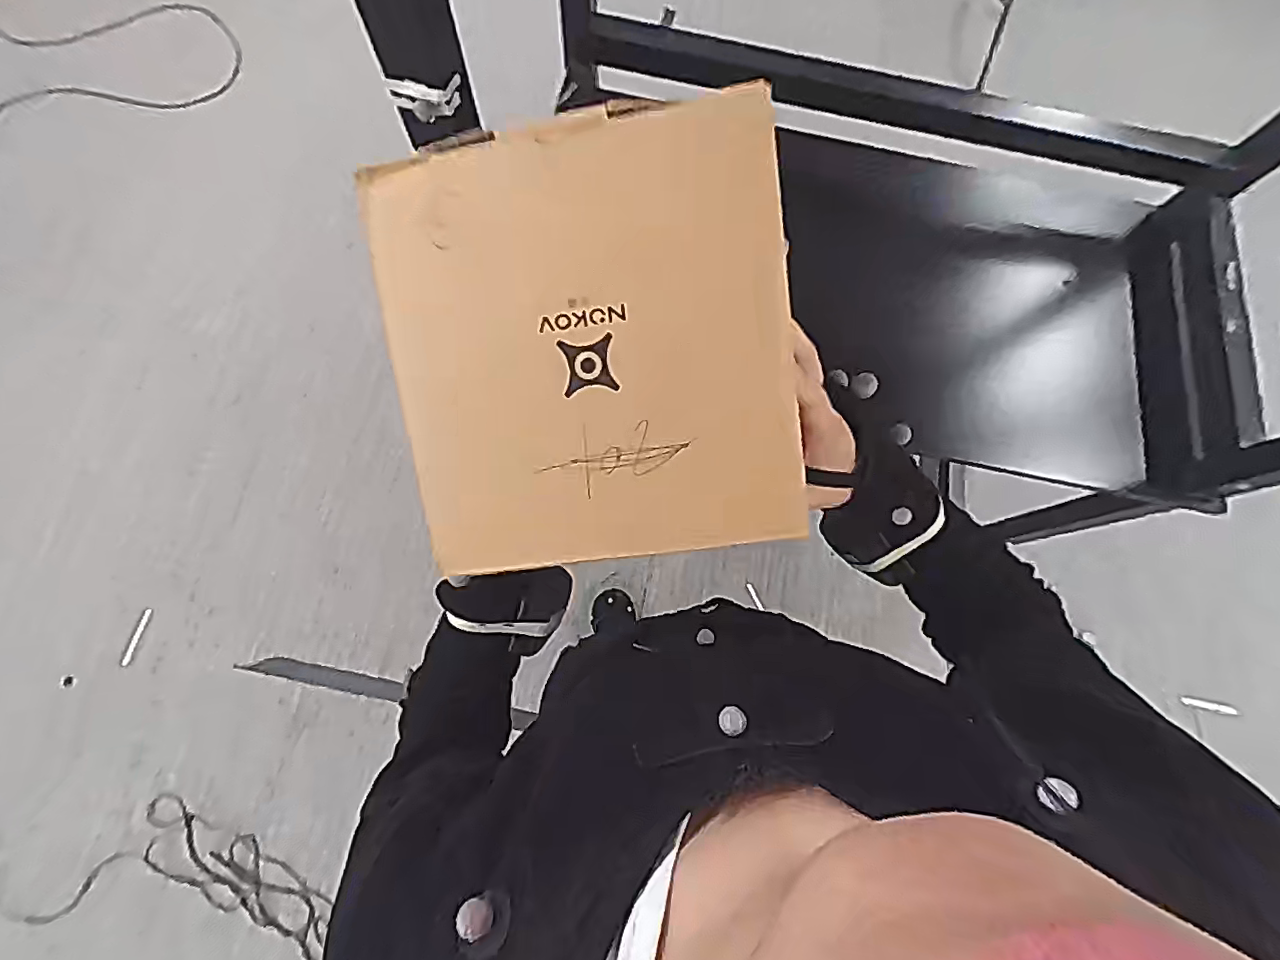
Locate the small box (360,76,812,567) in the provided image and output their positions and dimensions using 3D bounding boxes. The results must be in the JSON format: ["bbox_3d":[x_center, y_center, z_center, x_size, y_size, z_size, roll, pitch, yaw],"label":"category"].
[{"bbox_3d":[-0.013,-0.070,0.298,0.168,0.176,0.179,-8,102,7],"label":"small box"}]
